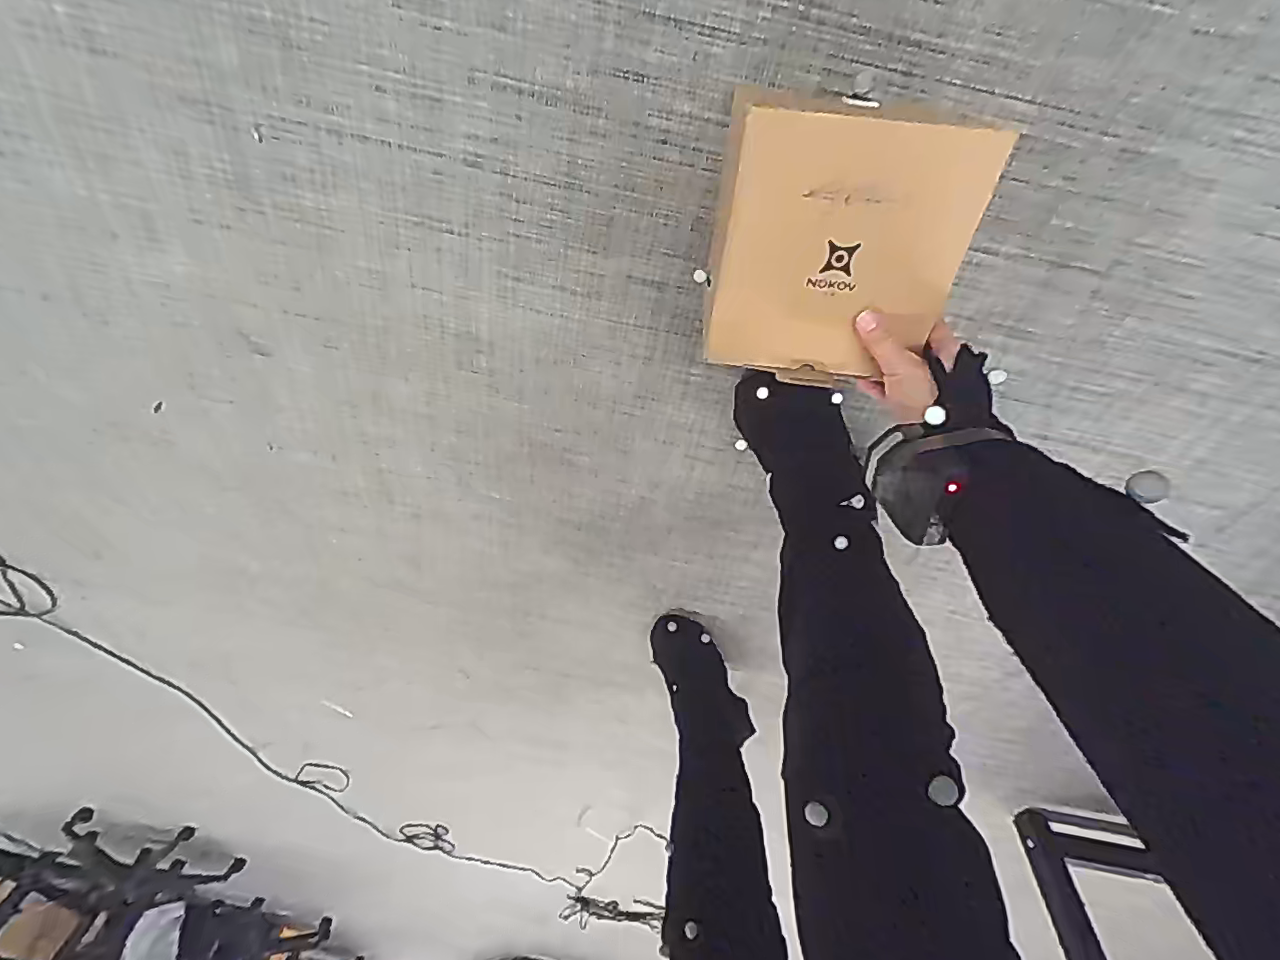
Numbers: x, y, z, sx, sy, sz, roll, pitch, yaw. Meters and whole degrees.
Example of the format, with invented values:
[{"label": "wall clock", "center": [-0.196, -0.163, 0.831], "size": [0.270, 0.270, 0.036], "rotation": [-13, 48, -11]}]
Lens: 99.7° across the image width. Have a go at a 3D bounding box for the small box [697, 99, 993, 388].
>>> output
[{"label": "small box", "center": [0.142, -0.200, 0.451], "size": [0.168, 0.176, 0.179], "rotation": [6, 128, 1]}]
